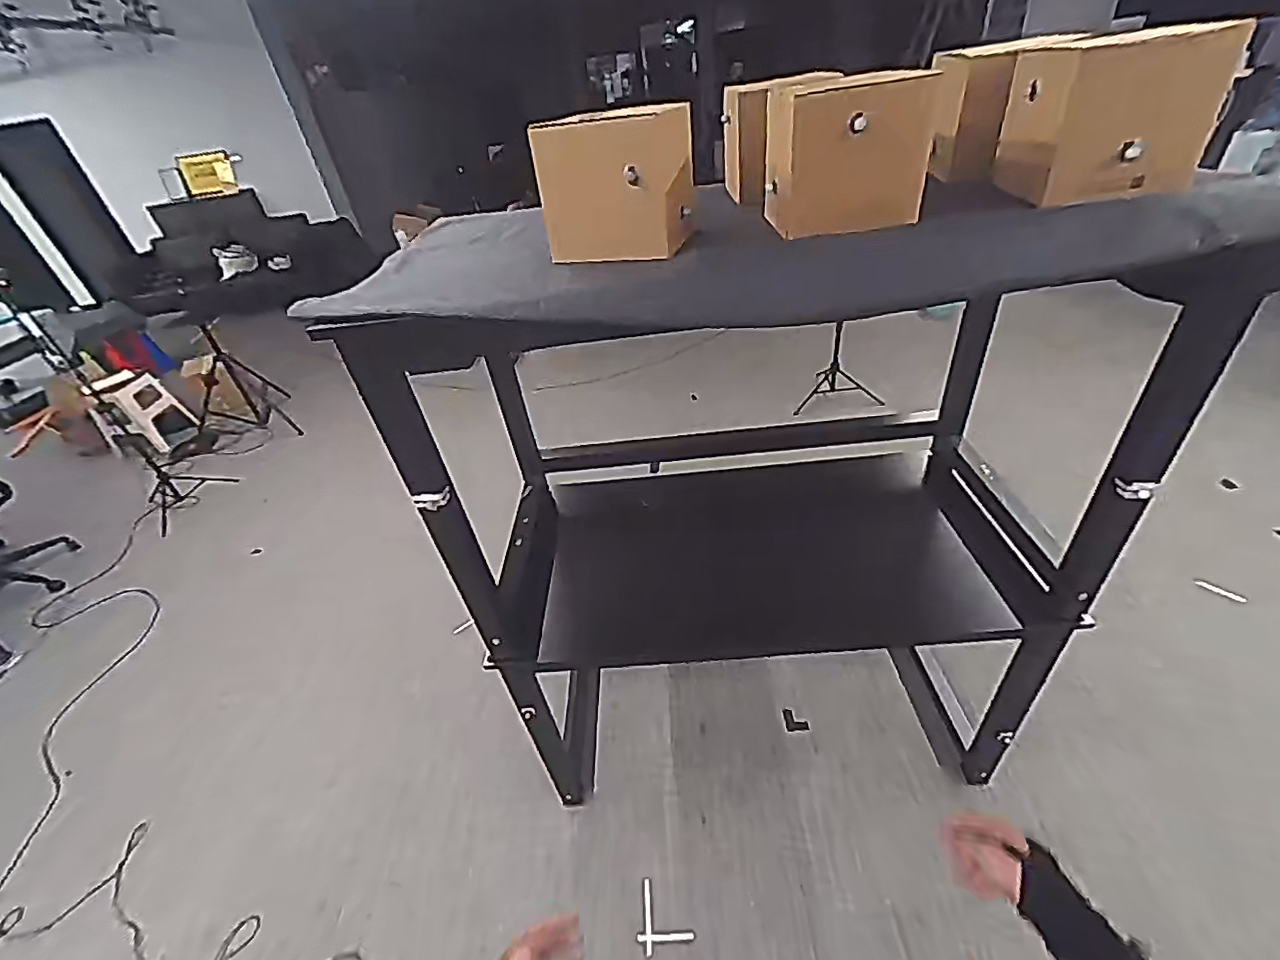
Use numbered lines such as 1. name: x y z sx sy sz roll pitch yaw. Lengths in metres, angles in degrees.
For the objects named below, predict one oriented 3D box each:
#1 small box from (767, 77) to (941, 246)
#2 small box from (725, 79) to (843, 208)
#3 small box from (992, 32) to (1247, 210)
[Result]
1. small box: 0.277 -0.439 0.747 0.179 0.176 0.168 -6 37 4
2. small box: 0.241 -0.588 0.948 0.168 0.176 0.179 -6 37 5
3. small box: 0.599 -0.466 0.712 0.168 0.176 0.179 -2 37 10
